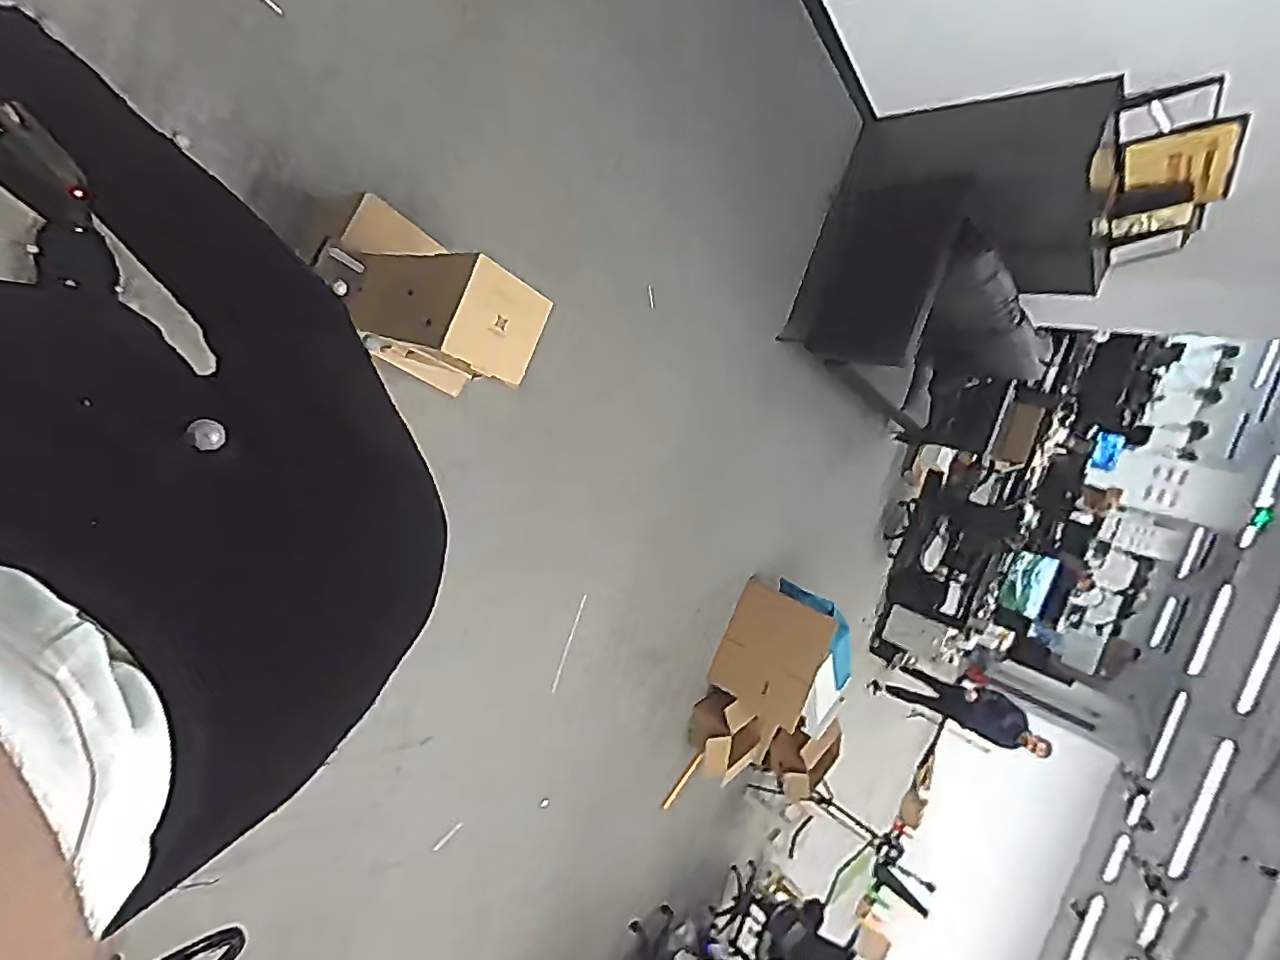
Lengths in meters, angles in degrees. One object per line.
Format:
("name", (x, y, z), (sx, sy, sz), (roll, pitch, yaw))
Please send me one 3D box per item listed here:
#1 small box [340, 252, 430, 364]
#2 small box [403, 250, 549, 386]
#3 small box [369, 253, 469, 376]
("small box", (-0.534, -0.382, 1.198), (0.168, 0.176, 0.179), (25, 88, -49))
("small box", (-0.304, -0.294, 0.984), (0.168, 0.176, 0.179), (23, 88, -49))
("small box", (-0.419, -0.334, 1.093), (0.168, 0.176, 0.179), (24, 87, -49))
